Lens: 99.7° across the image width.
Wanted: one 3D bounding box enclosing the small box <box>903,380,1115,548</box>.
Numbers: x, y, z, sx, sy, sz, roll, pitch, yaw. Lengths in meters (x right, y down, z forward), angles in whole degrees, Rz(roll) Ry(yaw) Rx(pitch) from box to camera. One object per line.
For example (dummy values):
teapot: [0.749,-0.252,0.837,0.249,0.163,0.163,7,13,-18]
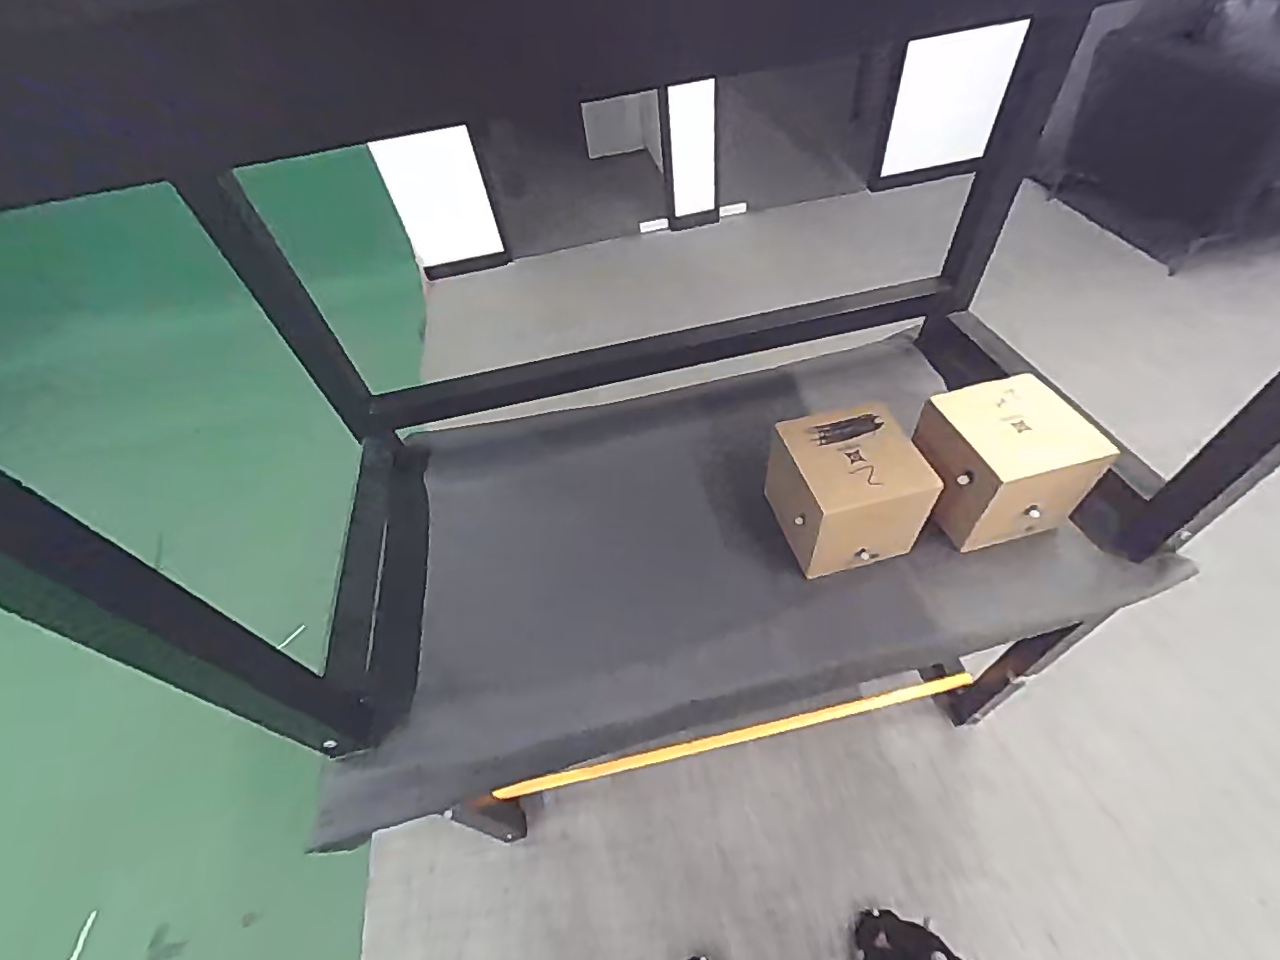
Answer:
small box: [0.529,-0.017,0.809,0.168,0.176,0.179,-14,48,-4]
